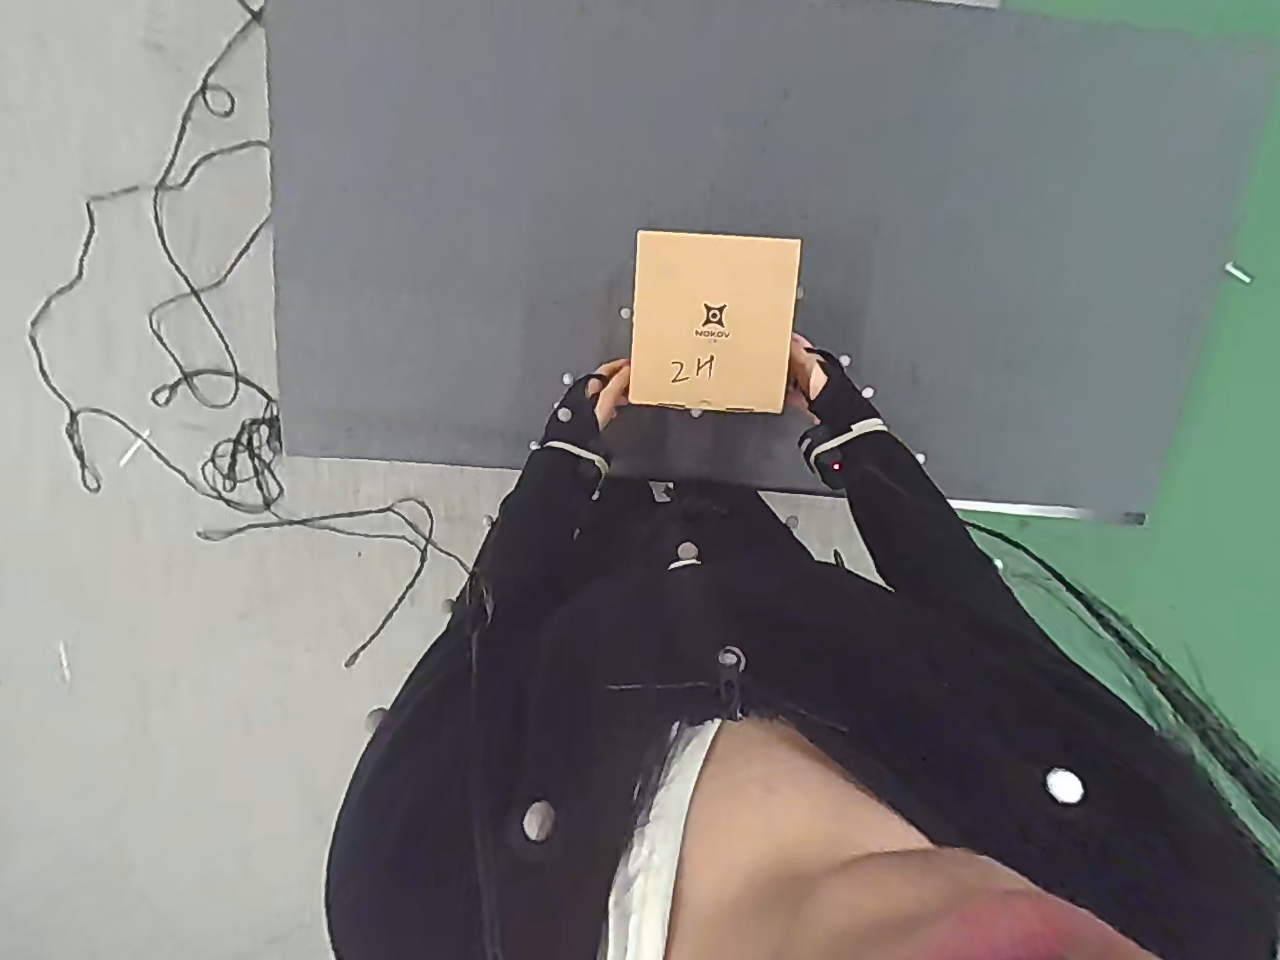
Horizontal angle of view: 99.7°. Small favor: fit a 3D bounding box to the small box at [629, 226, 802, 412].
[{"bbox_3d":[0.077,-0.175,0.628,0.168,0.176,0.179,4,100,1],"label":"small box"}]
